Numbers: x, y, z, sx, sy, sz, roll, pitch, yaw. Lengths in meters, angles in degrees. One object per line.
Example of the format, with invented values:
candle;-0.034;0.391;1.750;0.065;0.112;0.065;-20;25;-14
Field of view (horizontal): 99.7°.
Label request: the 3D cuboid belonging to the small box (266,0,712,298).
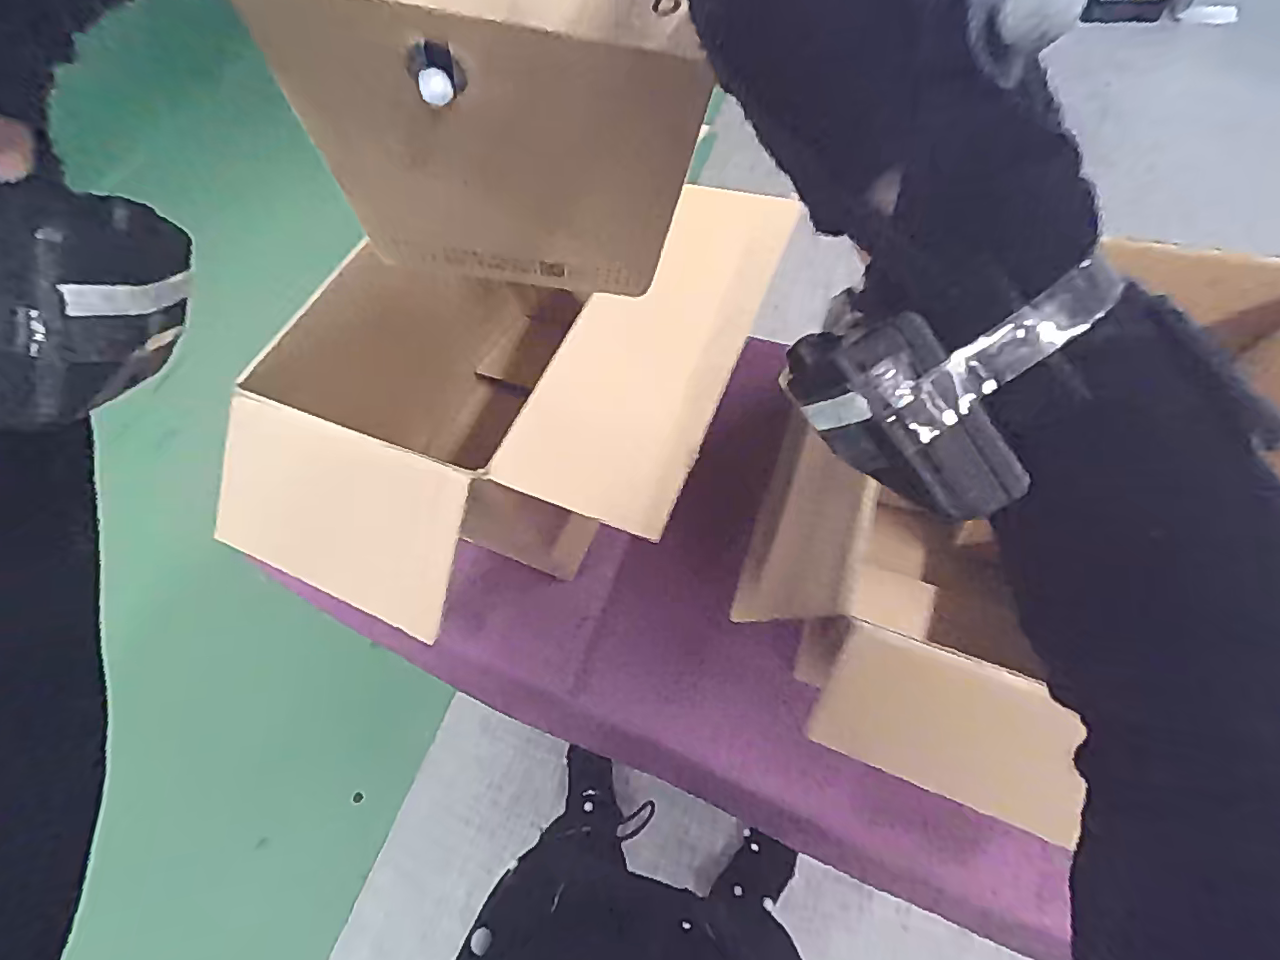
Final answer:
small box;-0.060;-0.227;0.289;0.168;0.176;0.179;5;79;-7
